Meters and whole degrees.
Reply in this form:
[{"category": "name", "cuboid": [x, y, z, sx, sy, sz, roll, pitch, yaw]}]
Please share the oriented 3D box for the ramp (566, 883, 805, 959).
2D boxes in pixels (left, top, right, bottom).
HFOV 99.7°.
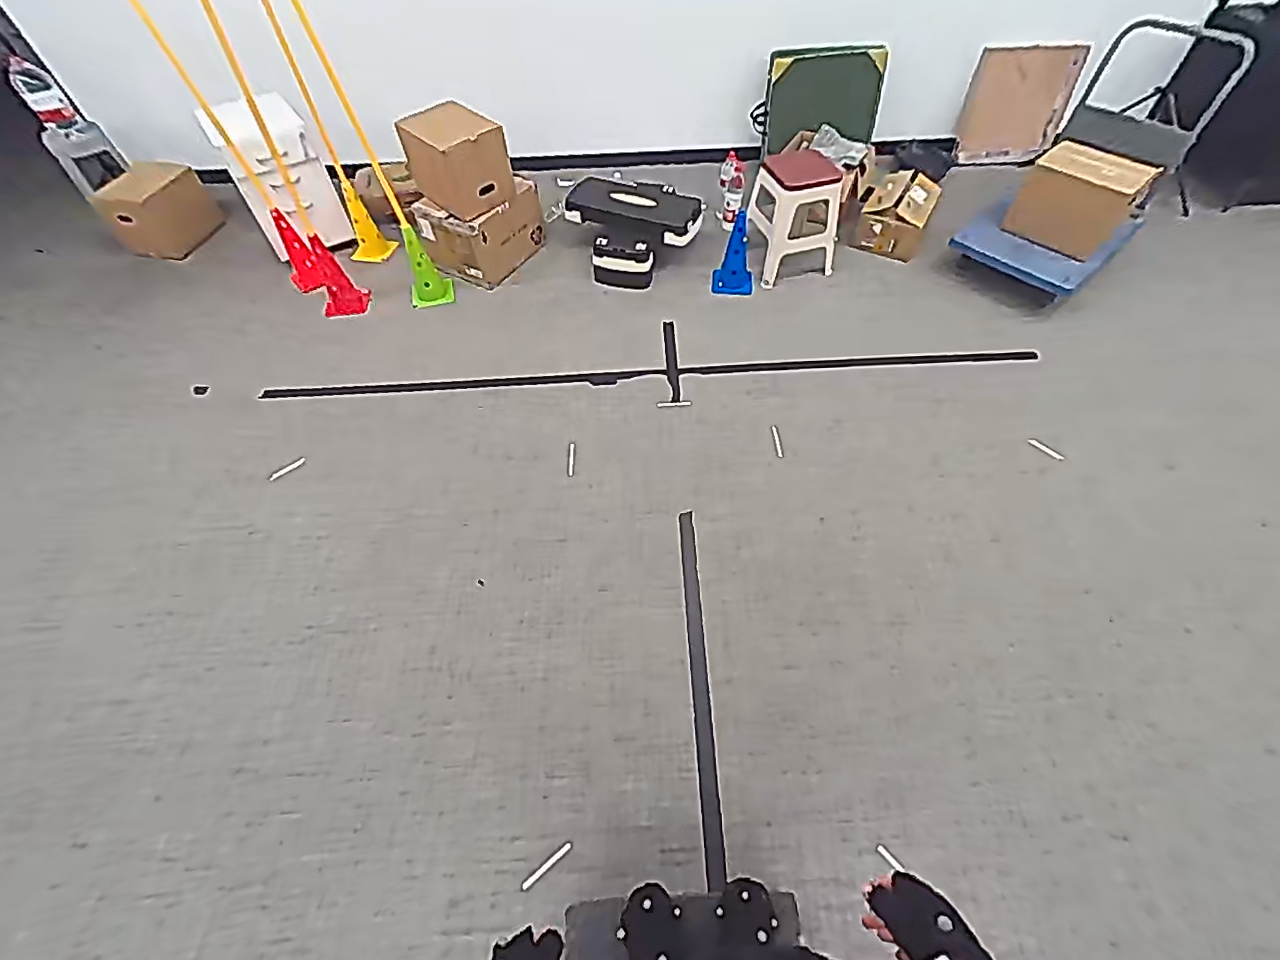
[{"category": "ramp", "cuboid": [0.115, 1.324, 0.941, 0.509, 0.206, 0.991, -4, 54, -3]}]
